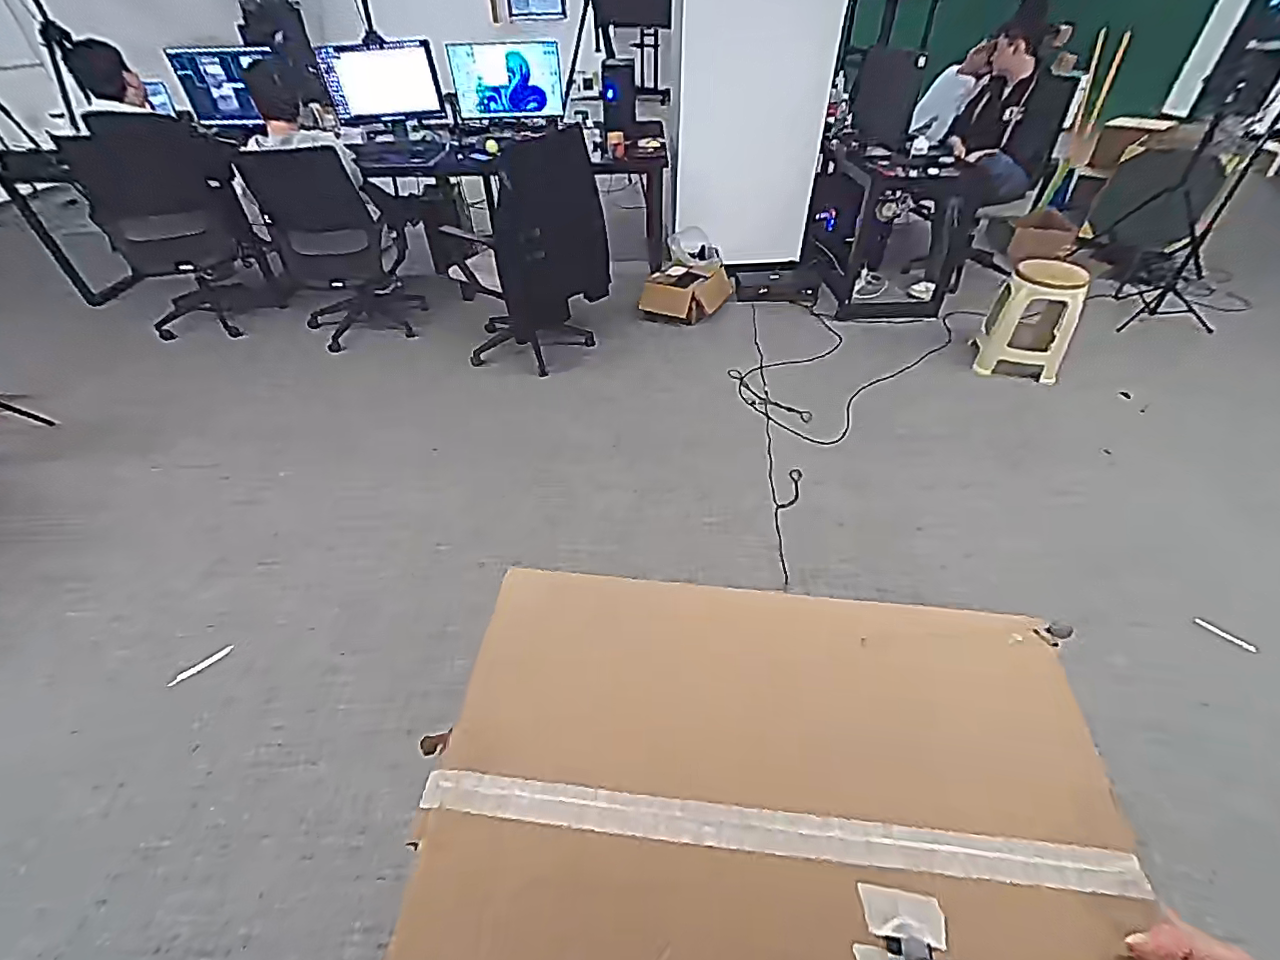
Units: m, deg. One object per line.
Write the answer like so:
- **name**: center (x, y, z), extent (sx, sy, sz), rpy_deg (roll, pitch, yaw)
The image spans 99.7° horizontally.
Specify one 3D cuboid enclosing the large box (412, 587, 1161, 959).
- **large box**: center (0.080, 0.310, 0.436), extent (0.408, 0.320, 0.320), rpy_deg (5, 51, 4)
